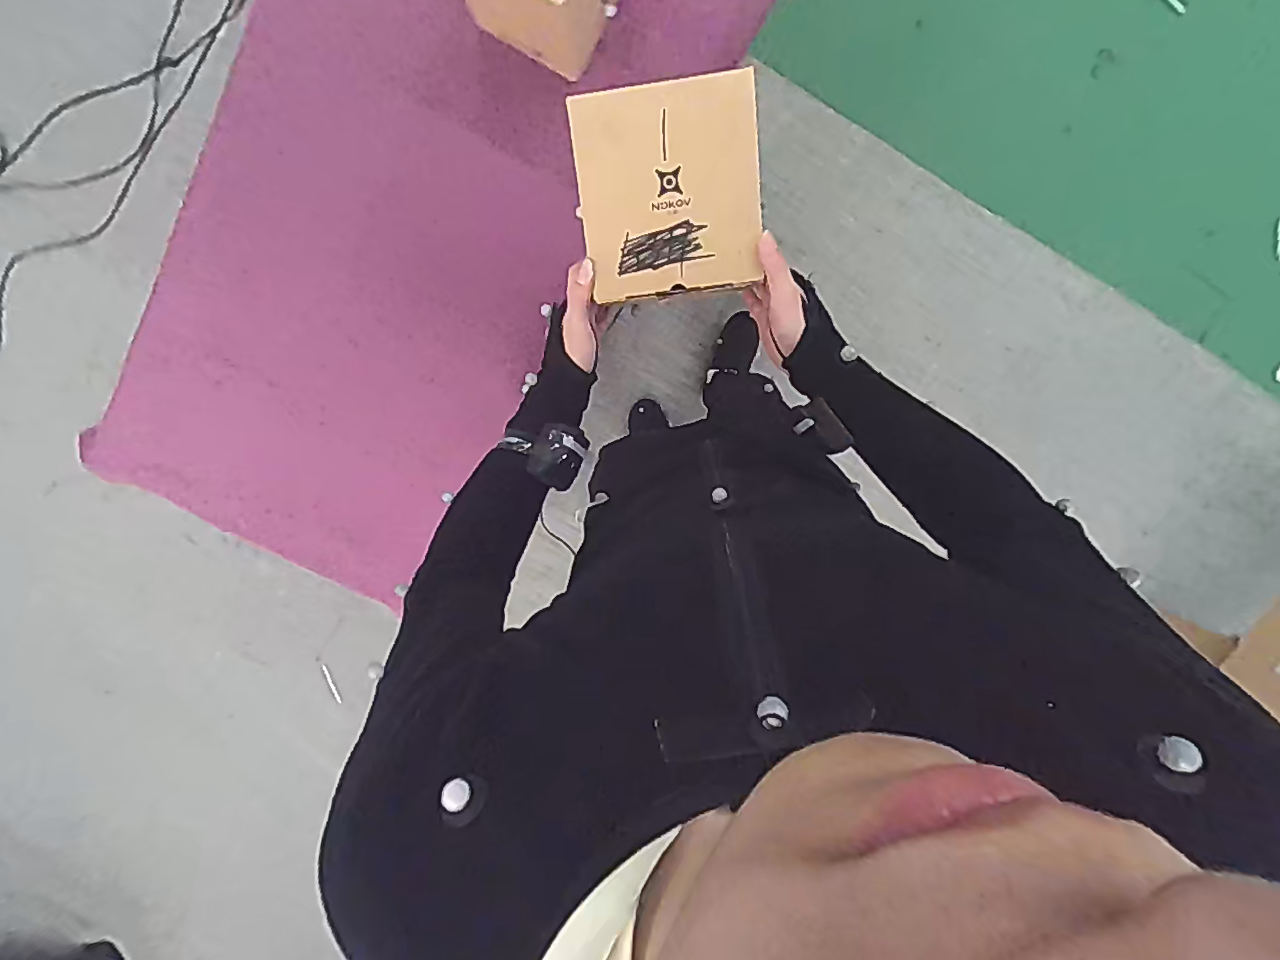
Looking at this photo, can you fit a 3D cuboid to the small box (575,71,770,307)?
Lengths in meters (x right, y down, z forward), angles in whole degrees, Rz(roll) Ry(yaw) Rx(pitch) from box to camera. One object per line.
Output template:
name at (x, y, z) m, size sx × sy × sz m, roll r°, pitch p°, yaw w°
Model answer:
small box at (0.036, -0.277, 0.561) m, size 0.168 × 0.176 × 0.179 m, roll -6°, pitch 105°, yaw 4°

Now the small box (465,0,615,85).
small box at (-0.125, -0.662, 0.681) m, size 0.168 × 0.176 × 0.179 m, roll 28°, pitch 98°, yaw -5°
